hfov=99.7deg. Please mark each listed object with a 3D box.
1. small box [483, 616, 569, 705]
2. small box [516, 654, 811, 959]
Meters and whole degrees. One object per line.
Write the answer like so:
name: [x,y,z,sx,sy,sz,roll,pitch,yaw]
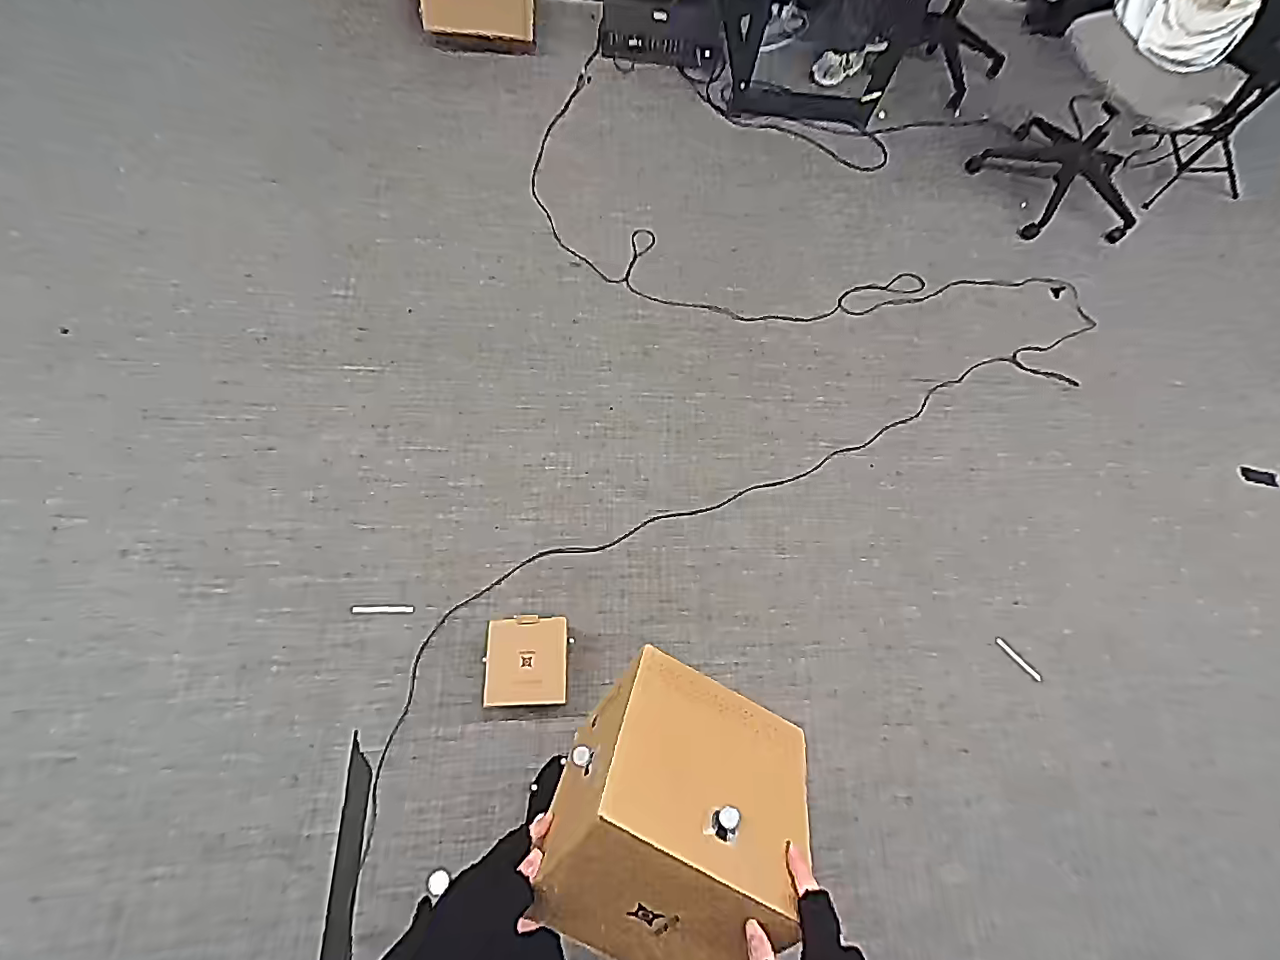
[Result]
small box: [-0.244,0.402,1.197,0.168,0.176,0.179,1,69,-5]
small box: [0.024,0.286,0.480,0.179,0.168,0.176,30,28,-3]
